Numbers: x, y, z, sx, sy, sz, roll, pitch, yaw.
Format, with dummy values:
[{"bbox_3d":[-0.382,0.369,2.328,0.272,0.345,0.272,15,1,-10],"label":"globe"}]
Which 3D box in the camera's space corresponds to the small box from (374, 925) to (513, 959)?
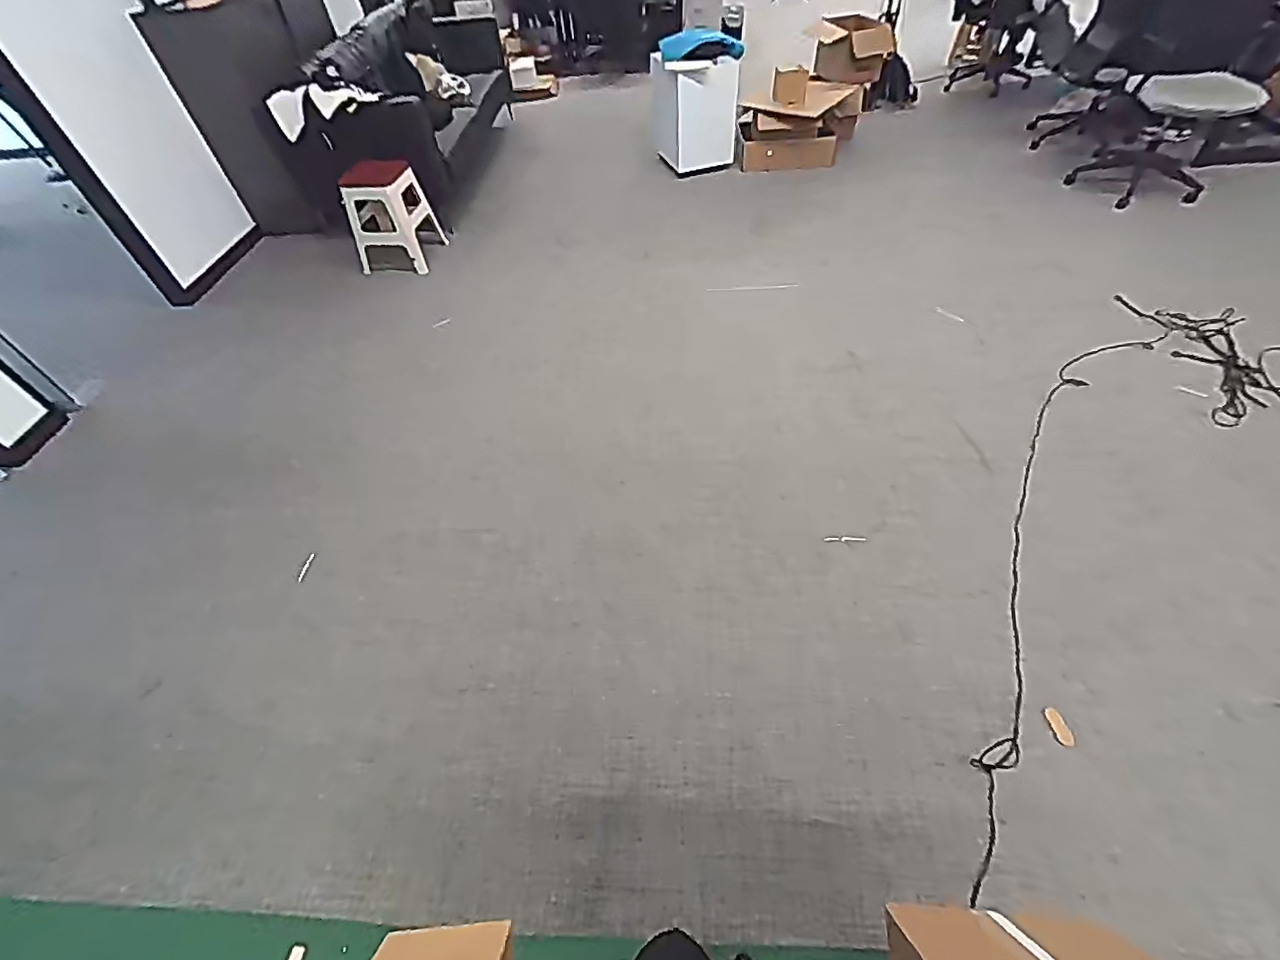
[{"bbox_3d":[-0.245,0.672,0.627,0.168,0.179,0.176,-5,86,-1],"label":"small box"}]
